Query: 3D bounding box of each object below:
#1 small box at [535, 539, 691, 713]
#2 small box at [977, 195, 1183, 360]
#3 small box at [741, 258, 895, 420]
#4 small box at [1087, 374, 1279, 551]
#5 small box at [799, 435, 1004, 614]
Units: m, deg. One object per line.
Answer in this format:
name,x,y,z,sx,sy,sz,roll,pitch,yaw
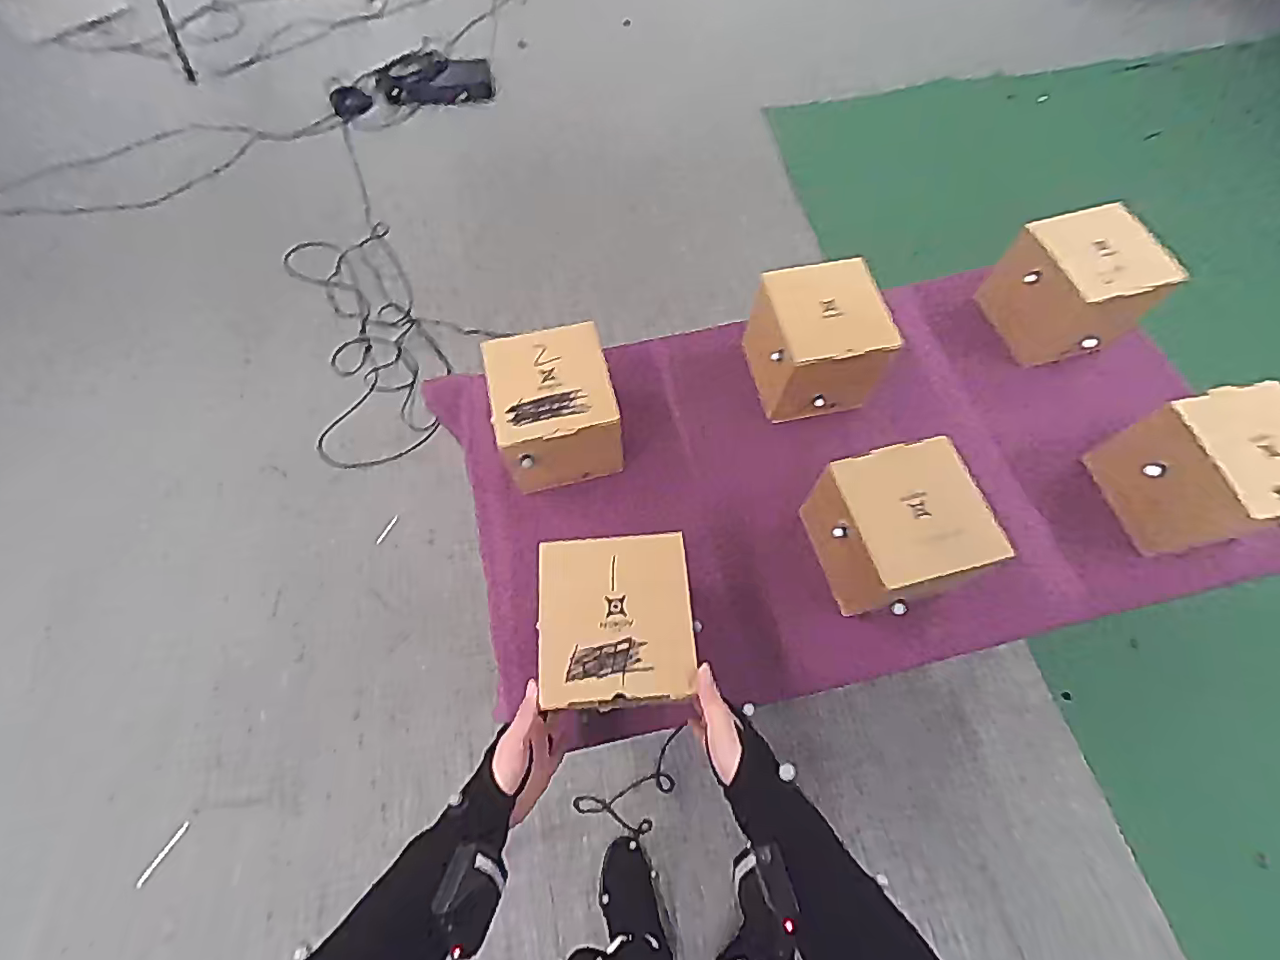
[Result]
small box,-0.028,0.184,0.658,0.168,0.176,0.179,-4,66,0
small box,0.714,-0.333,0.906,0.168,0.176,0.179,-16,67,-2
small box,0.272,-0.222,0.877,0.168,0.176,0.179,-12,68,-4
small box,0.797,-0.019,0.762,0.168,0.176,0.179,-13,66,-2
small box,0.336,0.067,0.742,0.168,0.176,0.179,-14,65,-3
